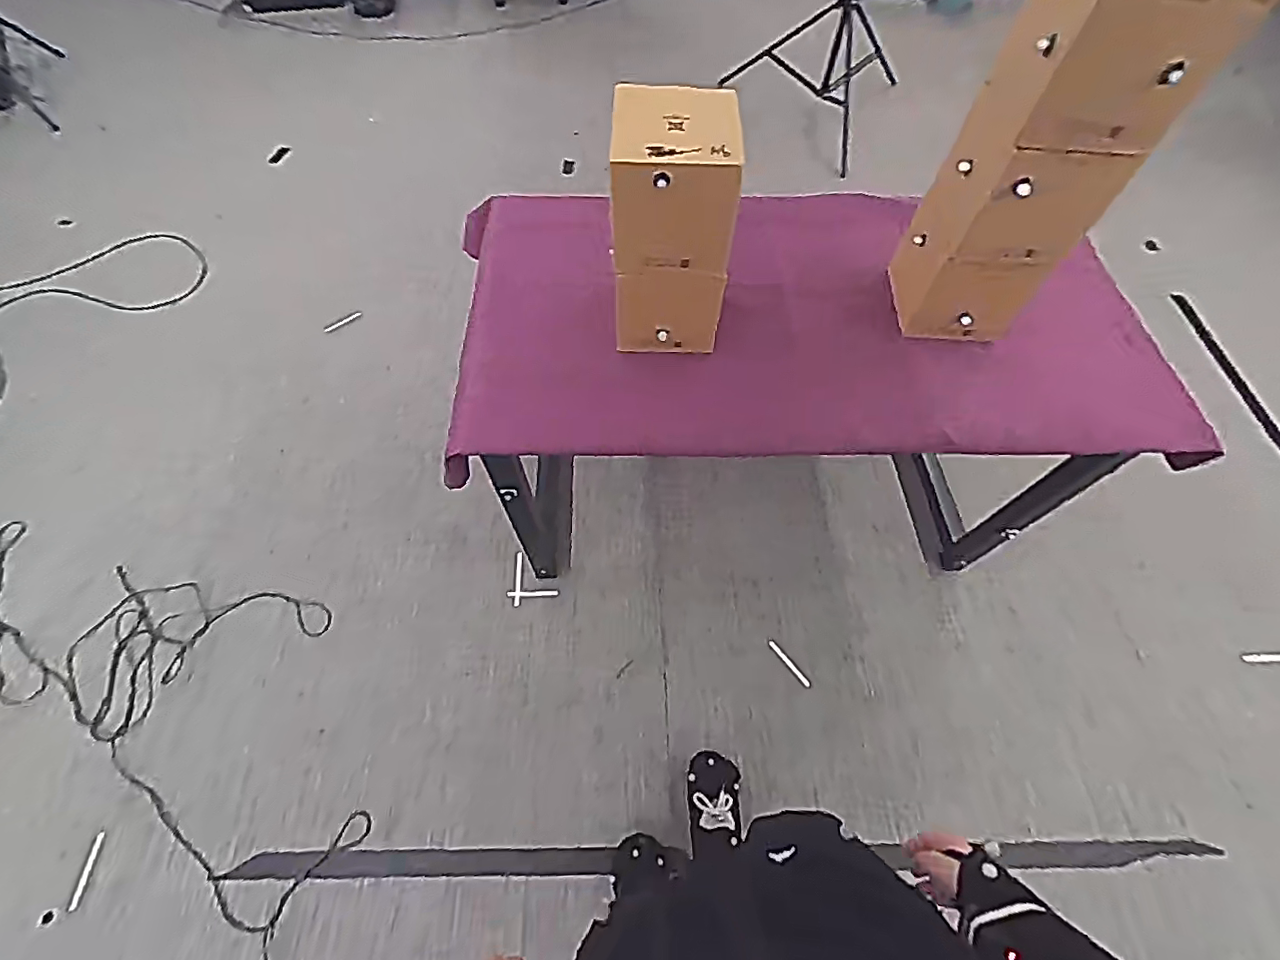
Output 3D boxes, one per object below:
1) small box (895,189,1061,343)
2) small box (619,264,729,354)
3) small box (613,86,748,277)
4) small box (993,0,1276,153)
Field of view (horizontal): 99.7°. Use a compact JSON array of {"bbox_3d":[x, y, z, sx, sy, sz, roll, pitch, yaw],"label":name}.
[{"bbox_3d":[0.556,-0.361,0.920,0.168,0.176,0.179,4,61,3],"label":"small box"},{"bbox_3d":[0.049,-0.334,0.900,0.168,0.176,0.179,1,62,0],"label":"small box"},{"bbox_3d":[0.050,-0.412,0.756,0.168,0.176,0.179,2,61,0],"label":"small box"},{"bbox_3d":[0.554,-0.513,0.631,0.168,0.176,0.179,6,60,2],"label":"small box"}]
